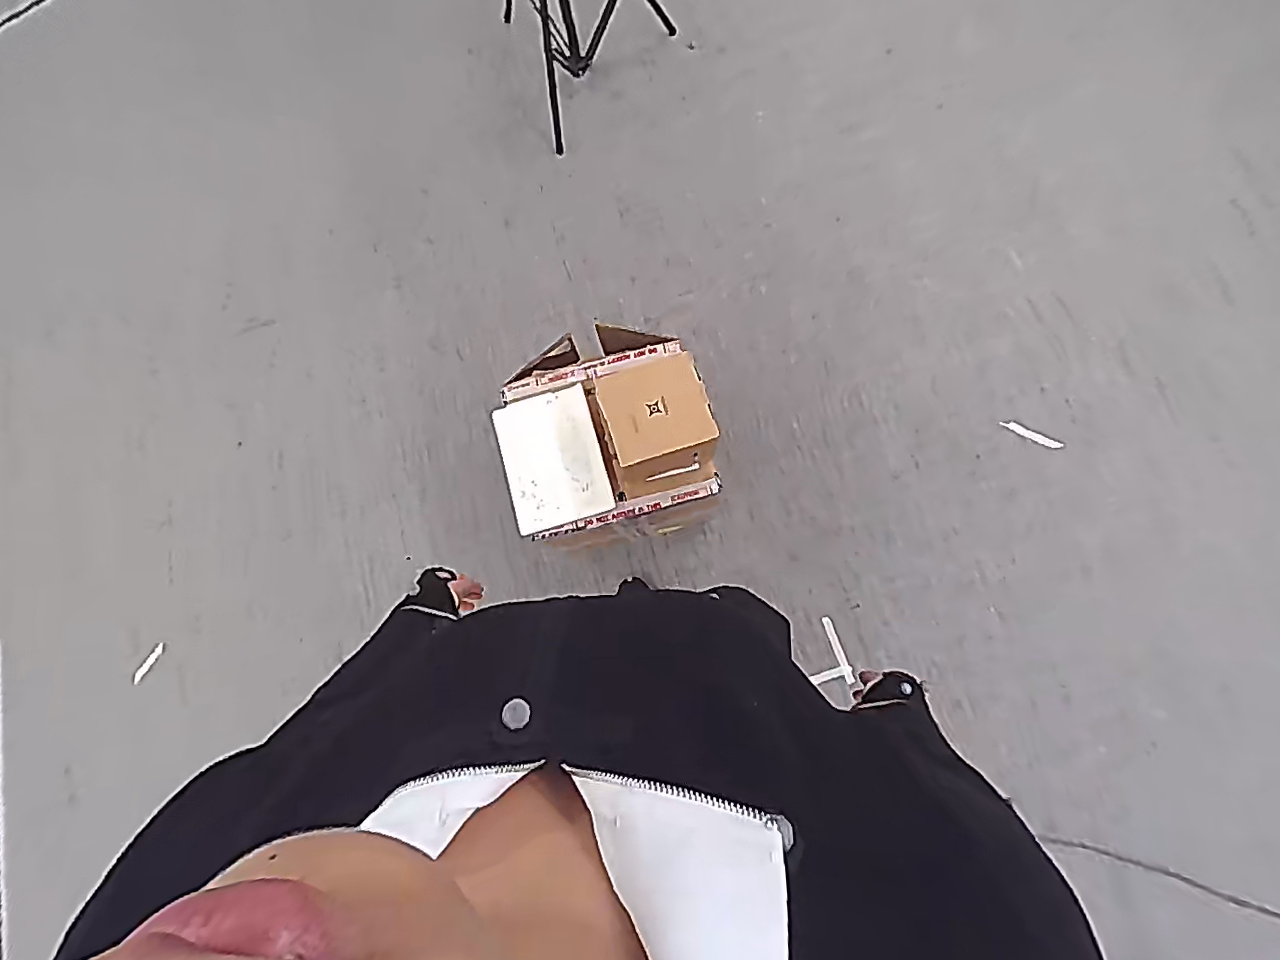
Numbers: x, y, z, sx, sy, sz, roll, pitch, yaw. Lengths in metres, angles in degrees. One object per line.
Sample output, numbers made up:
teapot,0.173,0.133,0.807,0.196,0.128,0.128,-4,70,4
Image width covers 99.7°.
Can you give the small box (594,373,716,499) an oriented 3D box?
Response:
small box,0.028,-0.073,1.008,0.179,0.176,0.168,-19,79,1
